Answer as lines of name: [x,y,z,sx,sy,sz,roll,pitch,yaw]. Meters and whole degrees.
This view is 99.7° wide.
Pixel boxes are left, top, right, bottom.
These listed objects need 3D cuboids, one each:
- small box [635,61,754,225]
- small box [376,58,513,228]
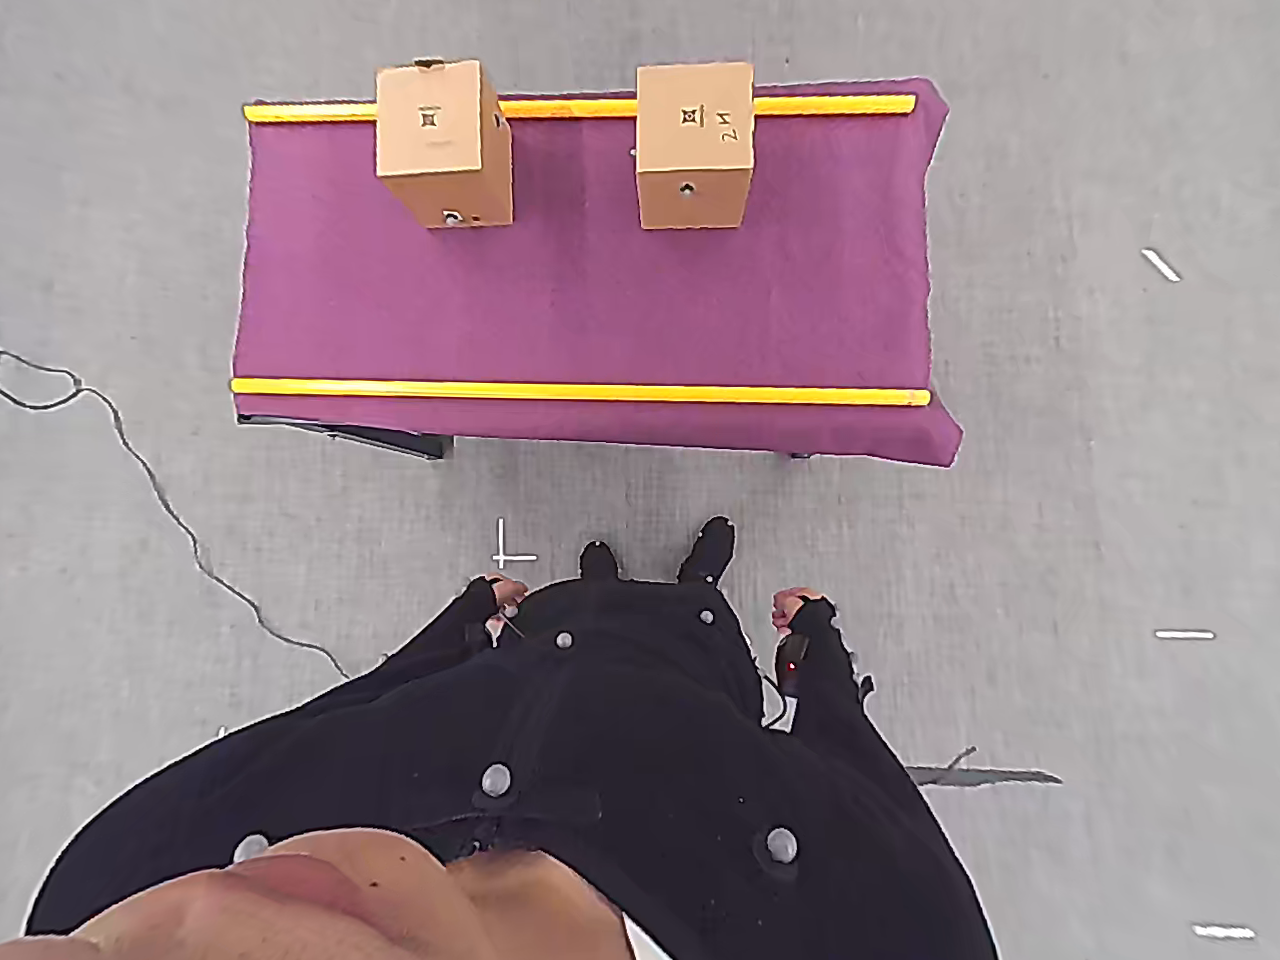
small box: [0.086,-0.533,0.877,0.179,0.176,0.168,1,88,3]
small box: [-0.315,-0.549,0.900,0.168,0.176,0.179,-2,87,4]
